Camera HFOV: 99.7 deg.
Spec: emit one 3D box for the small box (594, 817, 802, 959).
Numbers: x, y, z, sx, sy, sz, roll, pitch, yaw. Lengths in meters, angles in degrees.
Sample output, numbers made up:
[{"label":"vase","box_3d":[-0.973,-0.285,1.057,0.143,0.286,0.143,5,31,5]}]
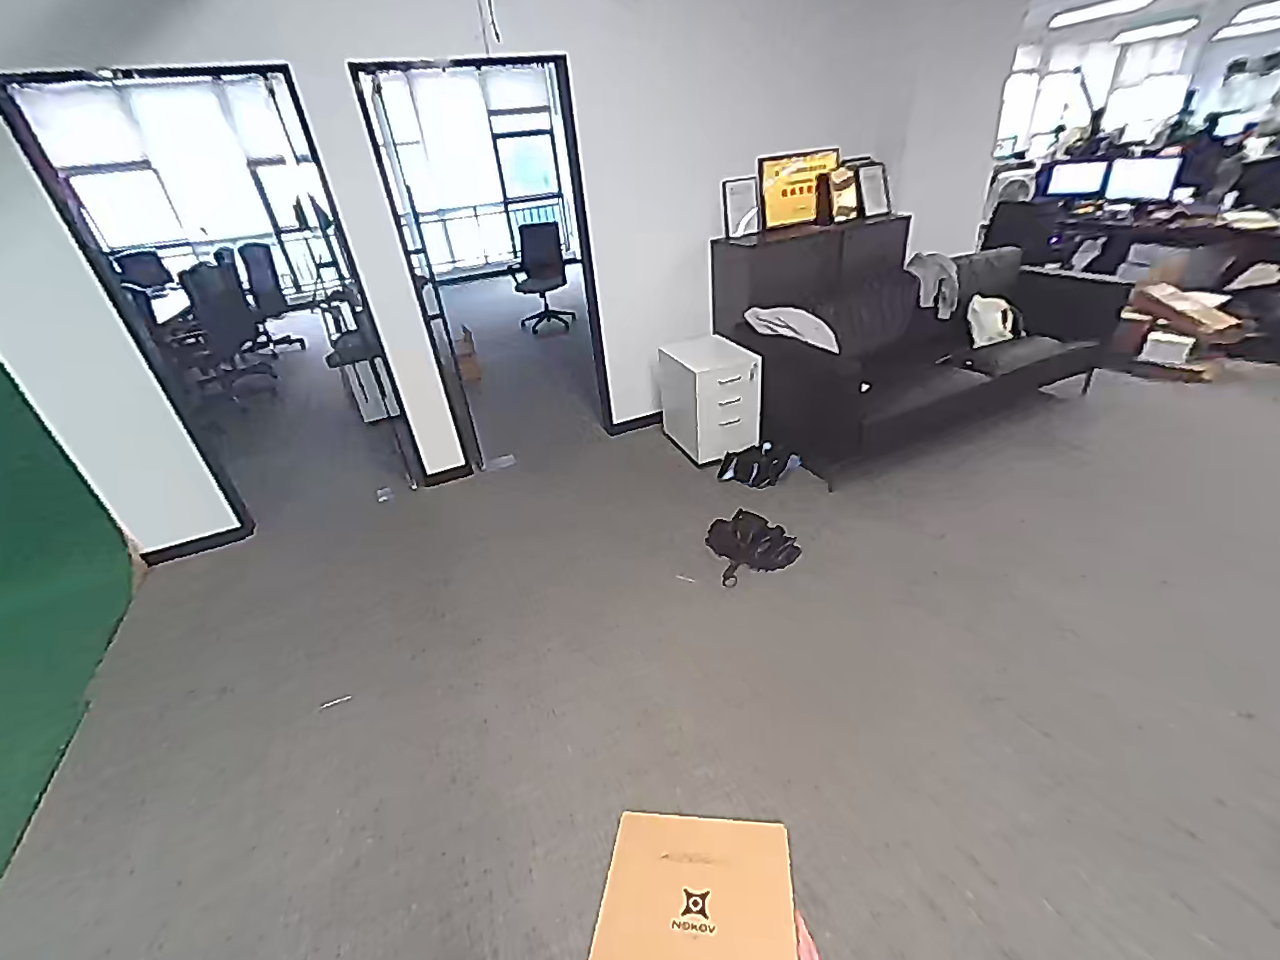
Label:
[{"label":"small box","box_3d":[0.058,0.444,0.479,0.168,0.176,0.179,-1,16,11]}]
